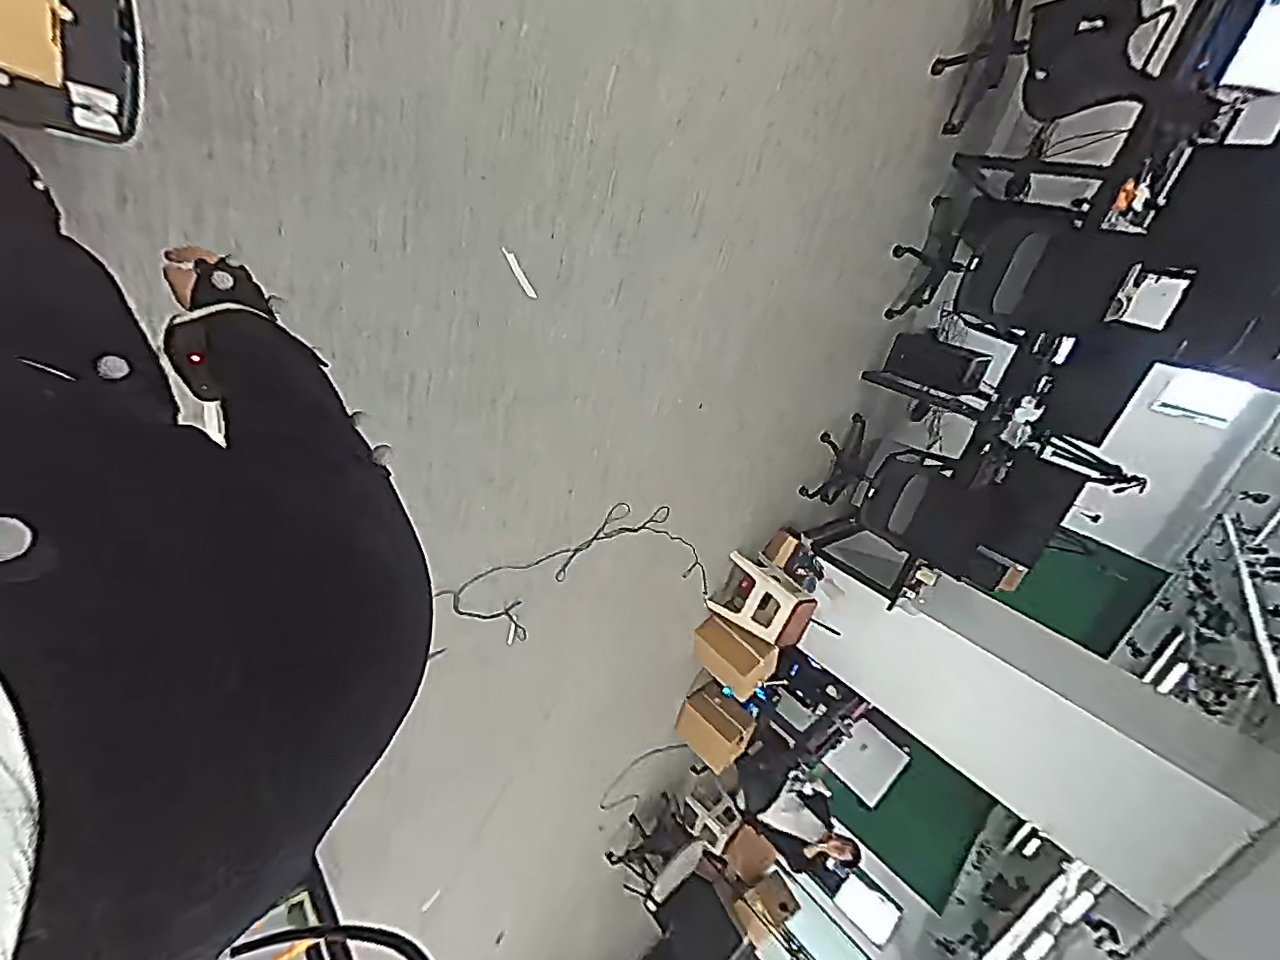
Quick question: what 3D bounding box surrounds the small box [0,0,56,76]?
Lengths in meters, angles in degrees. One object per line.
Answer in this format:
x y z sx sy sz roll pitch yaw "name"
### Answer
-0.638 -0.477 0.466 0.179 0.176 0.168 -6 120 -47 "small box"
